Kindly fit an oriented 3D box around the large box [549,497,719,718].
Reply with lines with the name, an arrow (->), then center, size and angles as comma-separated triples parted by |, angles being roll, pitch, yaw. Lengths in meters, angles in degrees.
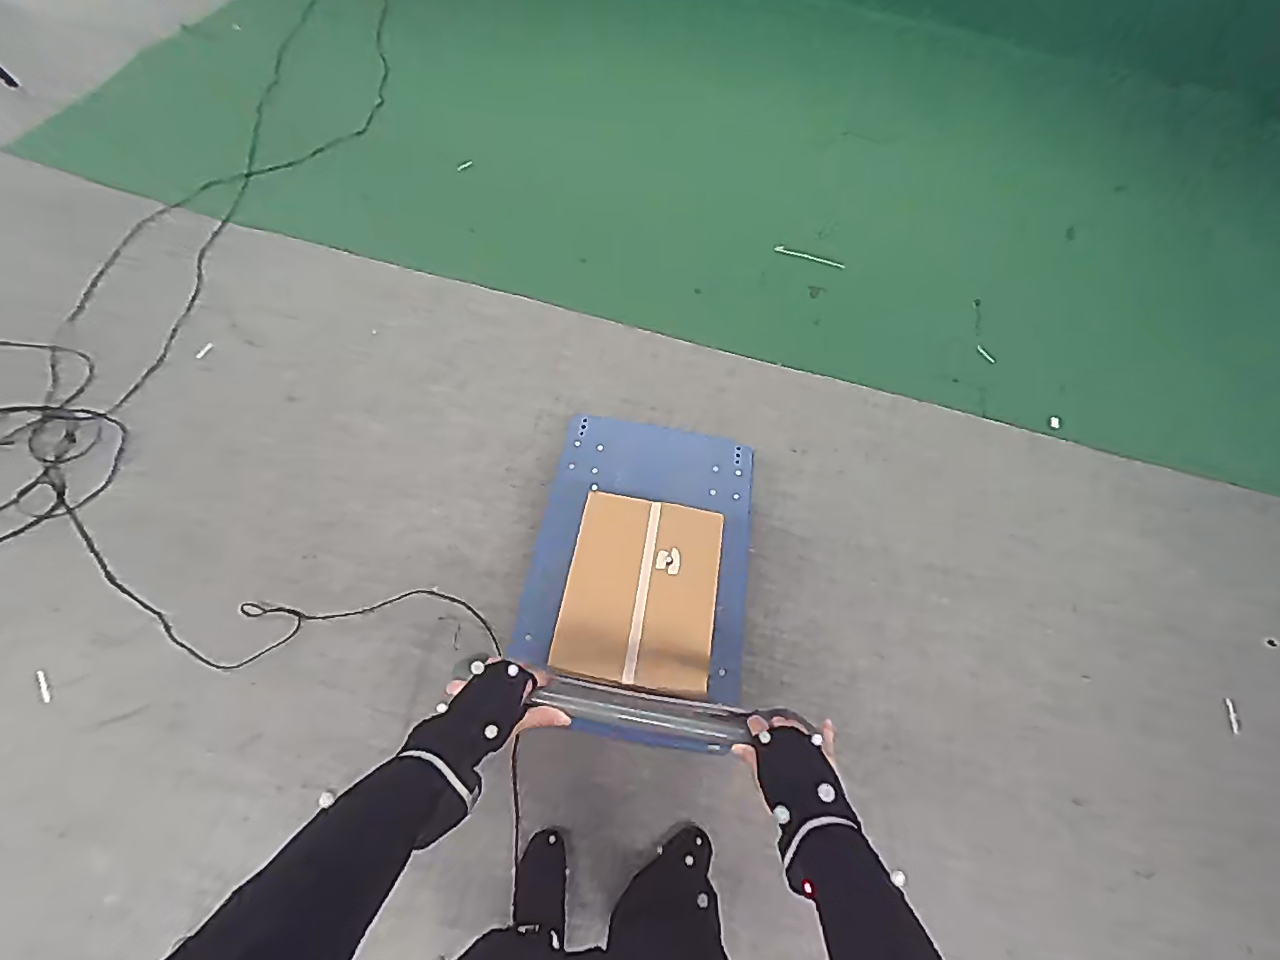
large box -> -0.009, 0.305, 1.254 | 0.320, 0.320, 0.408 | 10, 61, 0
